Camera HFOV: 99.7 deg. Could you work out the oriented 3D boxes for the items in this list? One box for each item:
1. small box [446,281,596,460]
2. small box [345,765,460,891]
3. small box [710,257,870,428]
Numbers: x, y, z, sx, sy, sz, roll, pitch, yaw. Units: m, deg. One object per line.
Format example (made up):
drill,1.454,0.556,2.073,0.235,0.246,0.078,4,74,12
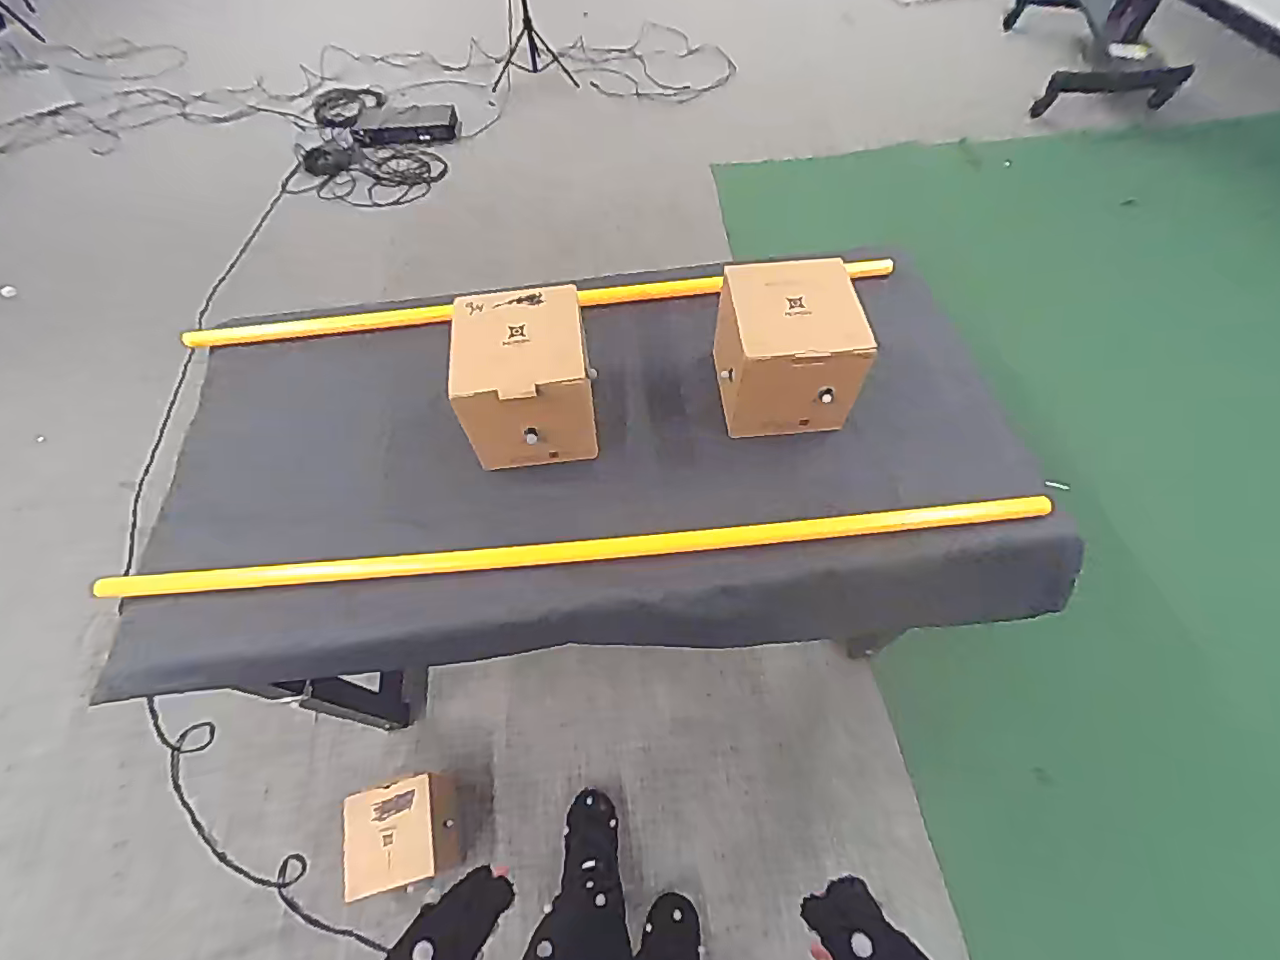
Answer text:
small box,-0.159,-0.142,0.754,0.168,0.176,0.179,-10,59,-3
small box,-0.479,0.704,1.107,0.168,0.176,0.179,-14,60,-6
small box,0.198,-0.186,0.769,0.168,0.176,0.179,-4,58,-2
